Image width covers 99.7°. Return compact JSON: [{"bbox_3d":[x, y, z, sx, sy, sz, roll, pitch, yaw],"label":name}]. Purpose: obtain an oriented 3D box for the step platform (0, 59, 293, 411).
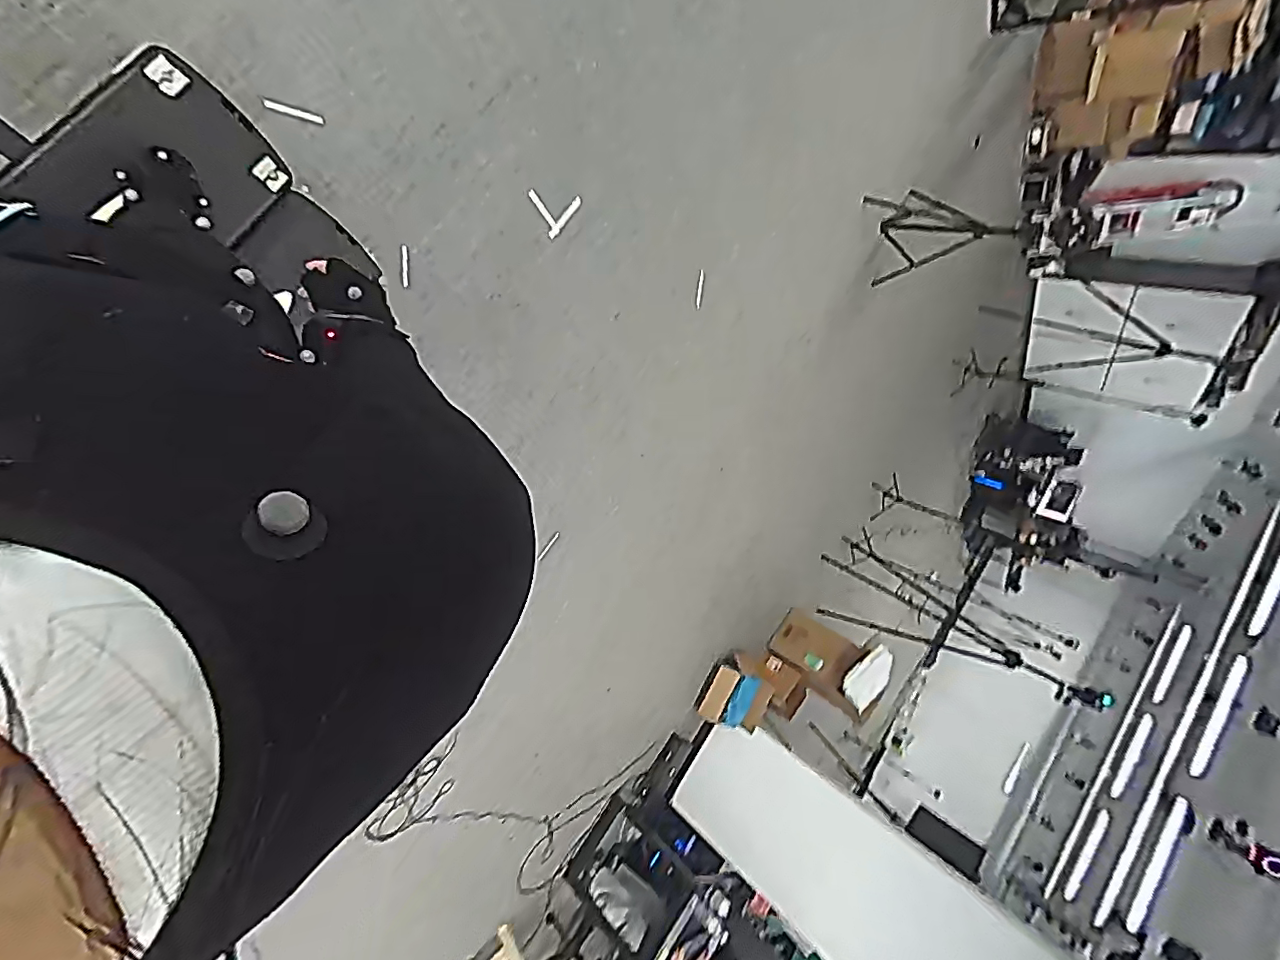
[{"bbox_3d":[-1.030,-0.471,1.059,0.684,0.204,0.286,-56,141,-11],"label":"step platform"}]
